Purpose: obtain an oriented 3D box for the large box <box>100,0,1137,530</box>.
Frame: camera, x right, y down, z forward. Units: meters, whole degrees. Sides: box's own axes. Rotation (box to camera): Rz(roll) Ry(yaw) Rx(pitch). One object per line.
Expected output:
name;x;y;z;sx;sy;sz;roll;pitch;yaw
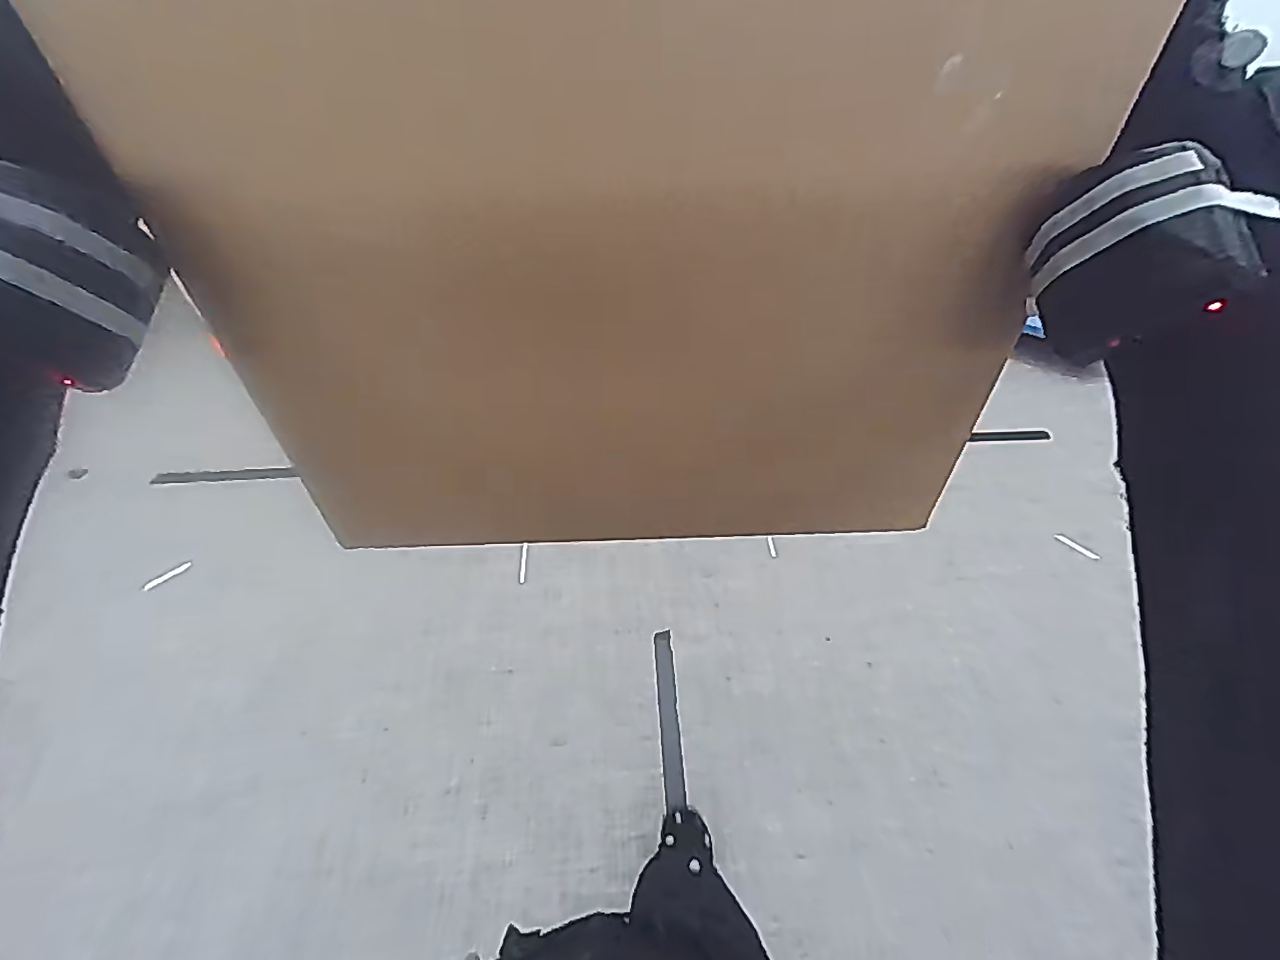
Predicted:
large box;-0.009;-0.181;0.398;0.408;0.320;0.320;-2;43;-2
